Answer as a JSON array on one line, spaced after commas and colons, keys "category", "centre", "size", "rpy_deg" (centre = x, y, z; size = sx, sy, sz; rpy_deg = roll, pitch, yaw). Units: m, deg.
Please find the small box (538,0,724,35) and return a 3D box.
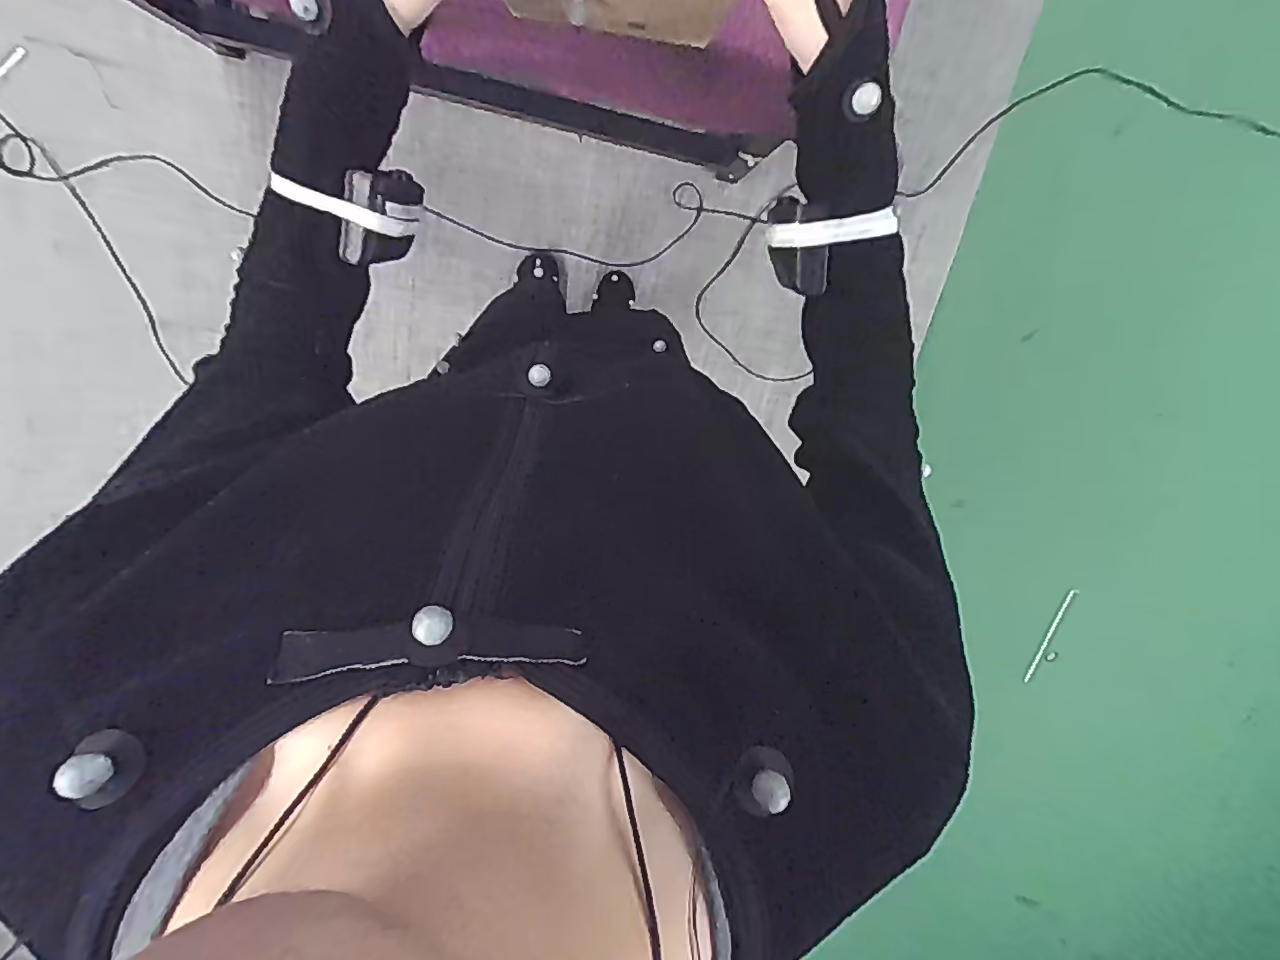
[{"category": "small box", "centre": [-0.006, -0.422, 0.346], "size": [0.168, 0.176, 0.179], "rpy_deg": [5, 117, -6]}]
